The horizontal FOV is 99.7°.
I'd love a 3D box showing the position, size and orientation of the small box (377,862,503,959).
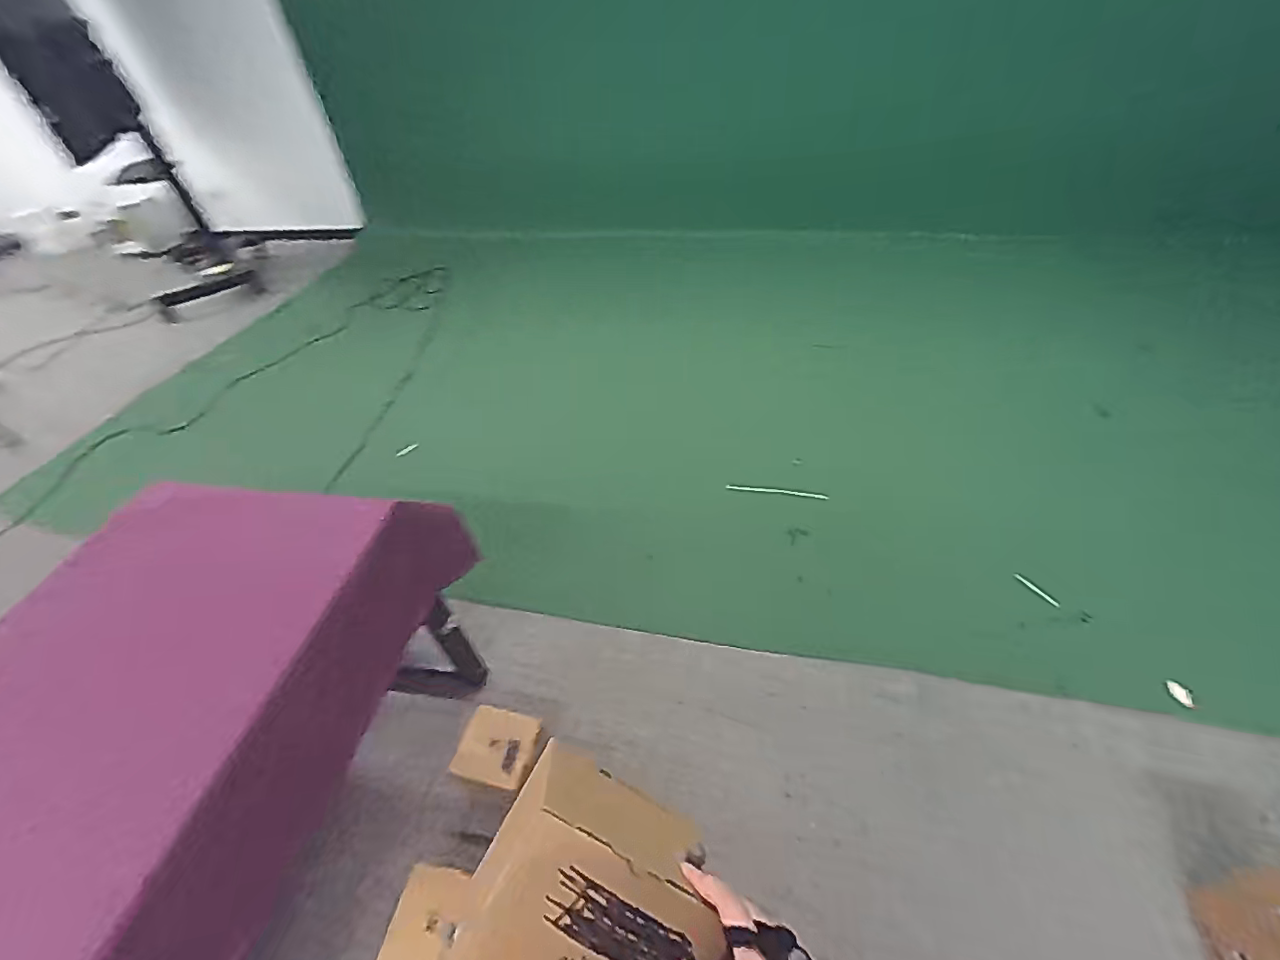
[{"bbox_3d":[-0.403,0.931,1.123,0.168,0.176,0.179,4,45,11],"label":"small box"}]
